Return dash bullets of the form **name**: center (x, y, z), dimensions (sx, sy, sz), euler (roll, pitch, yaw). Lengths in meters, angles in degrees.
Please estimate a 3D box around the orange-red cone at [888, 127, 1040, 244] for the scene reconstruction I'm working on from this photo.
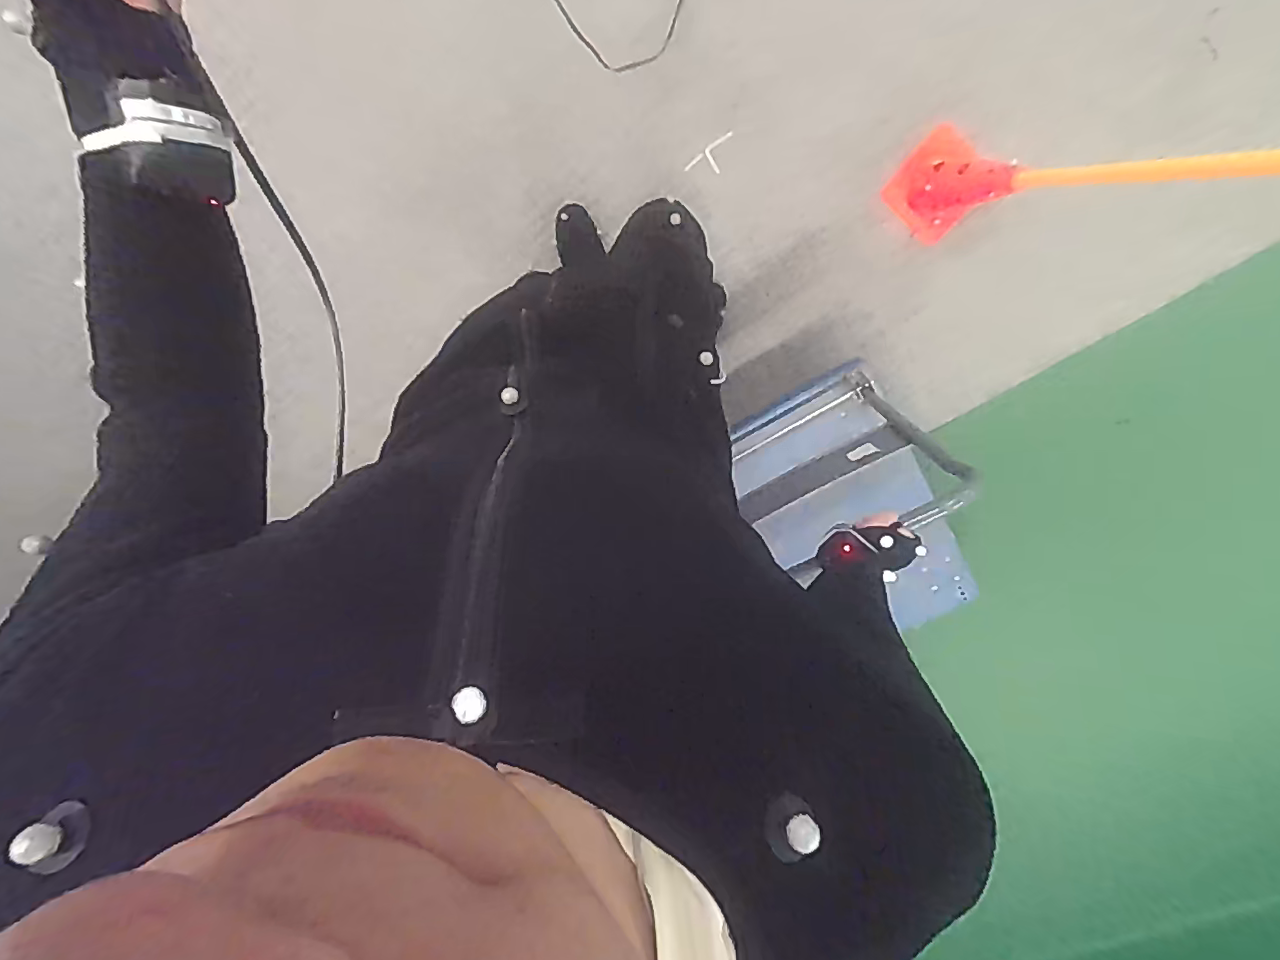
- **orange-red cone**: center (0.728, -0.636, 1.158), dimensions (0.198, 0.360, 0.199), euler (37, 111, -16)
